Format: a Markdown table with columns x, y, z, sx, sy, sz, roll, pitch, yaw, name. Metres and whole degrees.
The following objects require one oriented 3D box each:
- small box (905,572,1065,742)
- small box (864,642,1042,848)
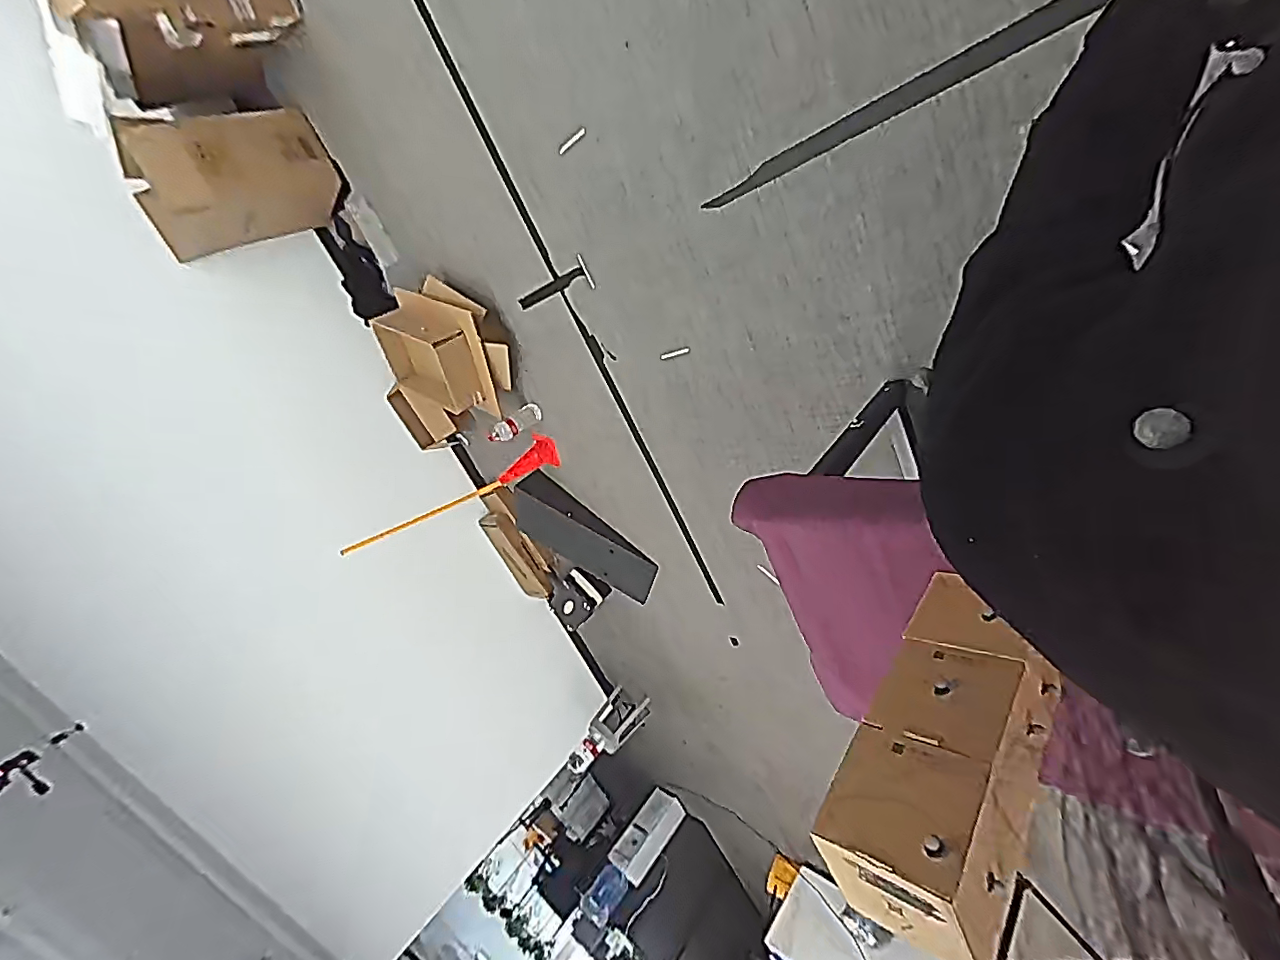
| x | y | z | sx | sy | sz | roll | pitch | yaw | name |
| --- | --- | --- | --- | --- | --- | --- | --- | --- | --- |
| 0.552 | 0.268 | 0.861 | 0.168 | 0.176 | 0.179 | -2 | 122 | 50 | small box |
| 0.451 | 0.361 | 0.773 | 0.168 | 0.176 | 0.179 | -1 | 122 | 49 | small box |
